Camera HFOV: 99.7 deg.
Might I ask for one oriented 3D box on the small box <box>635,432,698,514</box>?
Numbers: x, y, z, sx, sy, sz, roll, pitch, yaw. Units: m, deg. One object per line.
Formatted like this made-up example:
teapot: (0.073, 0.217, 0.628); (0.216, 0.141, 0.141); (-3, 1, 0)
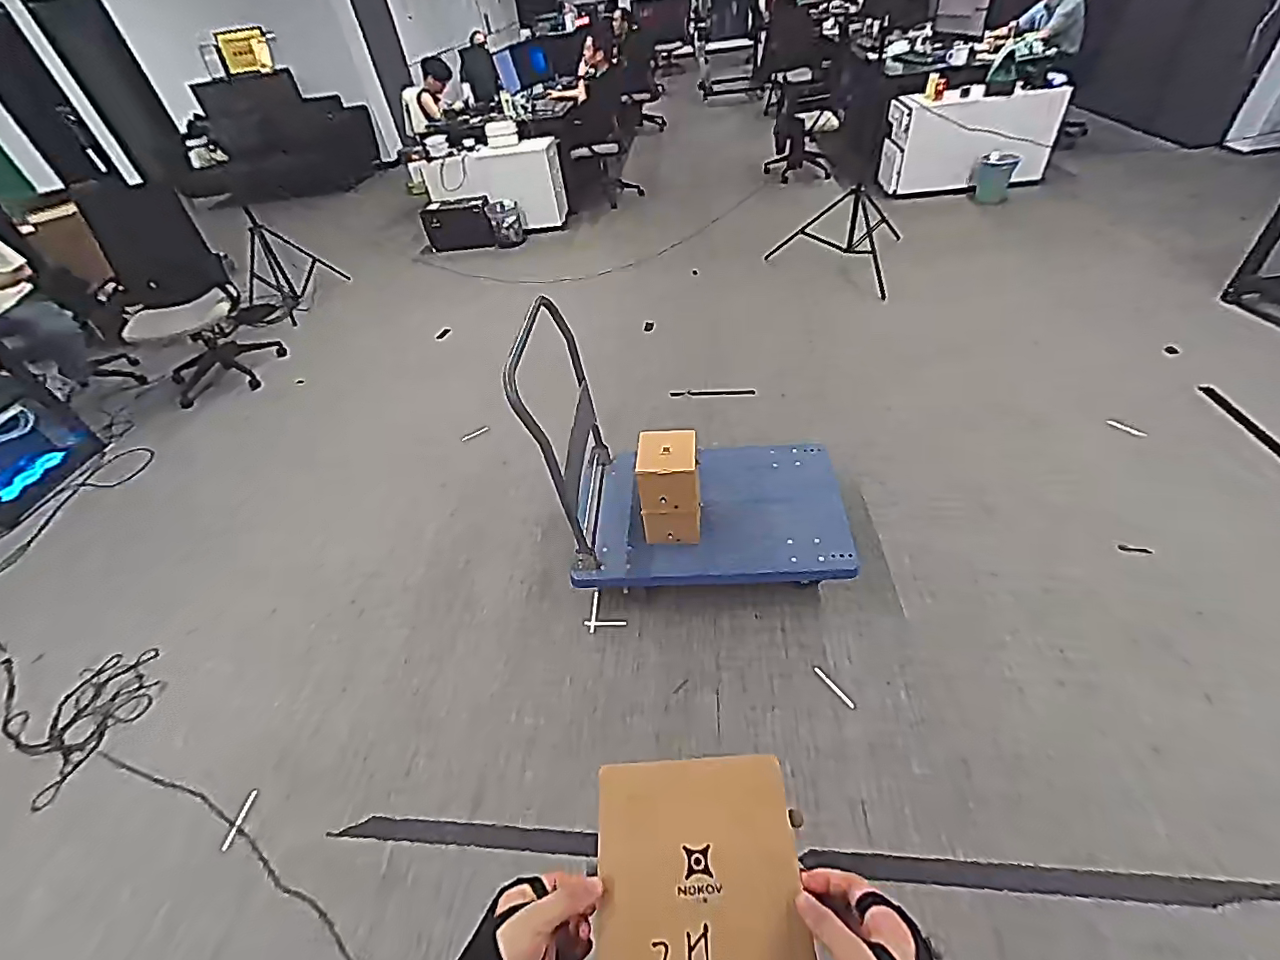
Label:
small box: (0.082, -0.021, 1.583); (0.168, 0.176, 0.179); (-2, 45, 8)

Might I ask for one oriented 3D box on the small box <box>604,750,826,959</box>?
small box: (0.059, 0.367, 0.492); (0.168, 0.176, 0.179); (-5, 48, 3)
